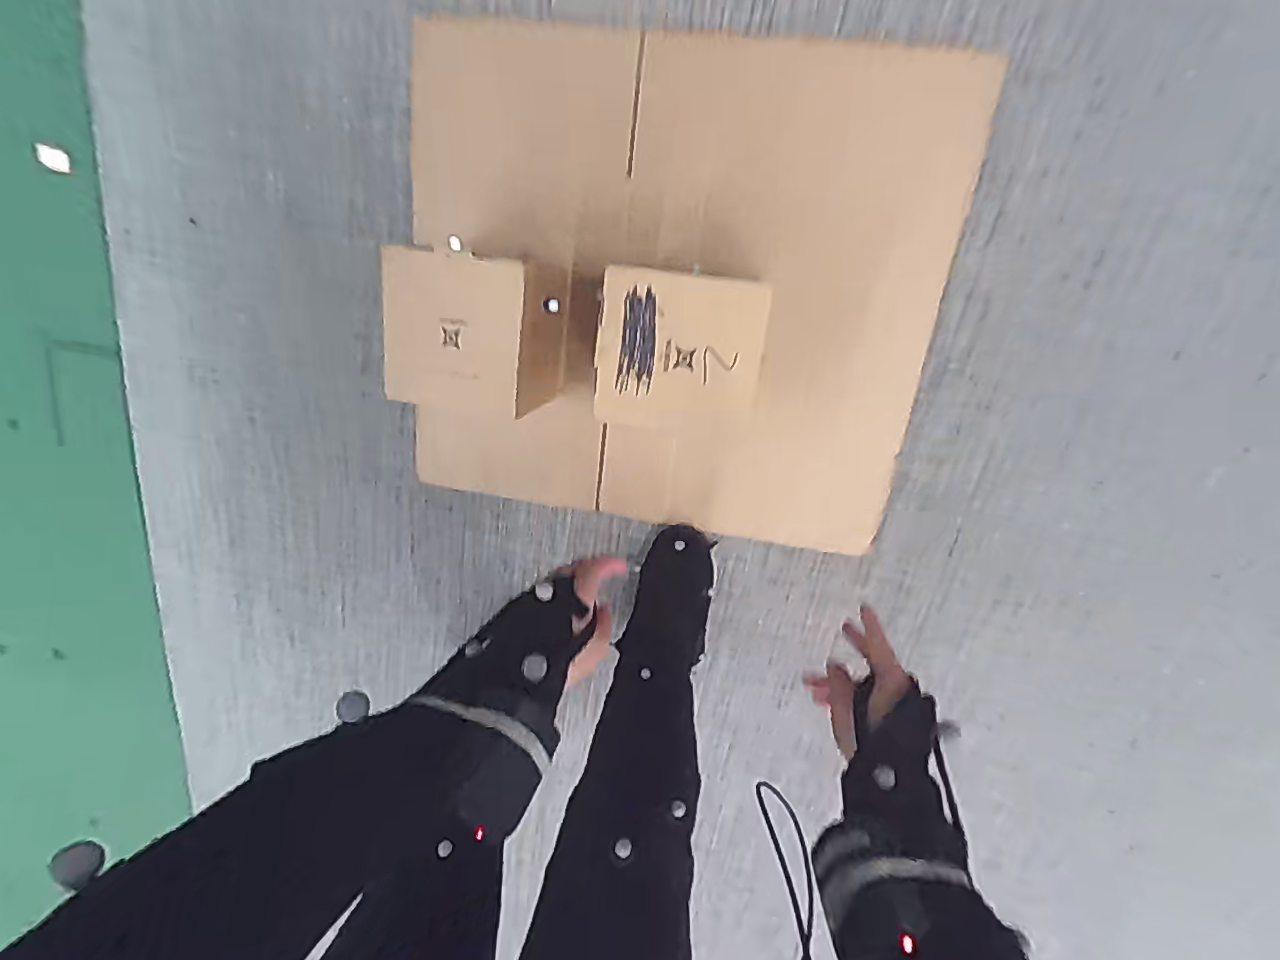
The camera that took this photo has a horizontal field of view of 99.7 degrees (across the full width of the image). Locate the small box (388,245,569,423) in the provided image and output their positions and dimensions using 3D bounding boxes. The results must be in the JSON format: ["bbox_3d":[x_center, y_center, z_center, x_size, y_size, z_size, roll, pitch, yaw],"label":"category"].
[{"bbox_3d":[-0.194,-0.186,0.684,0.168,0.176,0.179,10,110,7],"label":"small box"}]
